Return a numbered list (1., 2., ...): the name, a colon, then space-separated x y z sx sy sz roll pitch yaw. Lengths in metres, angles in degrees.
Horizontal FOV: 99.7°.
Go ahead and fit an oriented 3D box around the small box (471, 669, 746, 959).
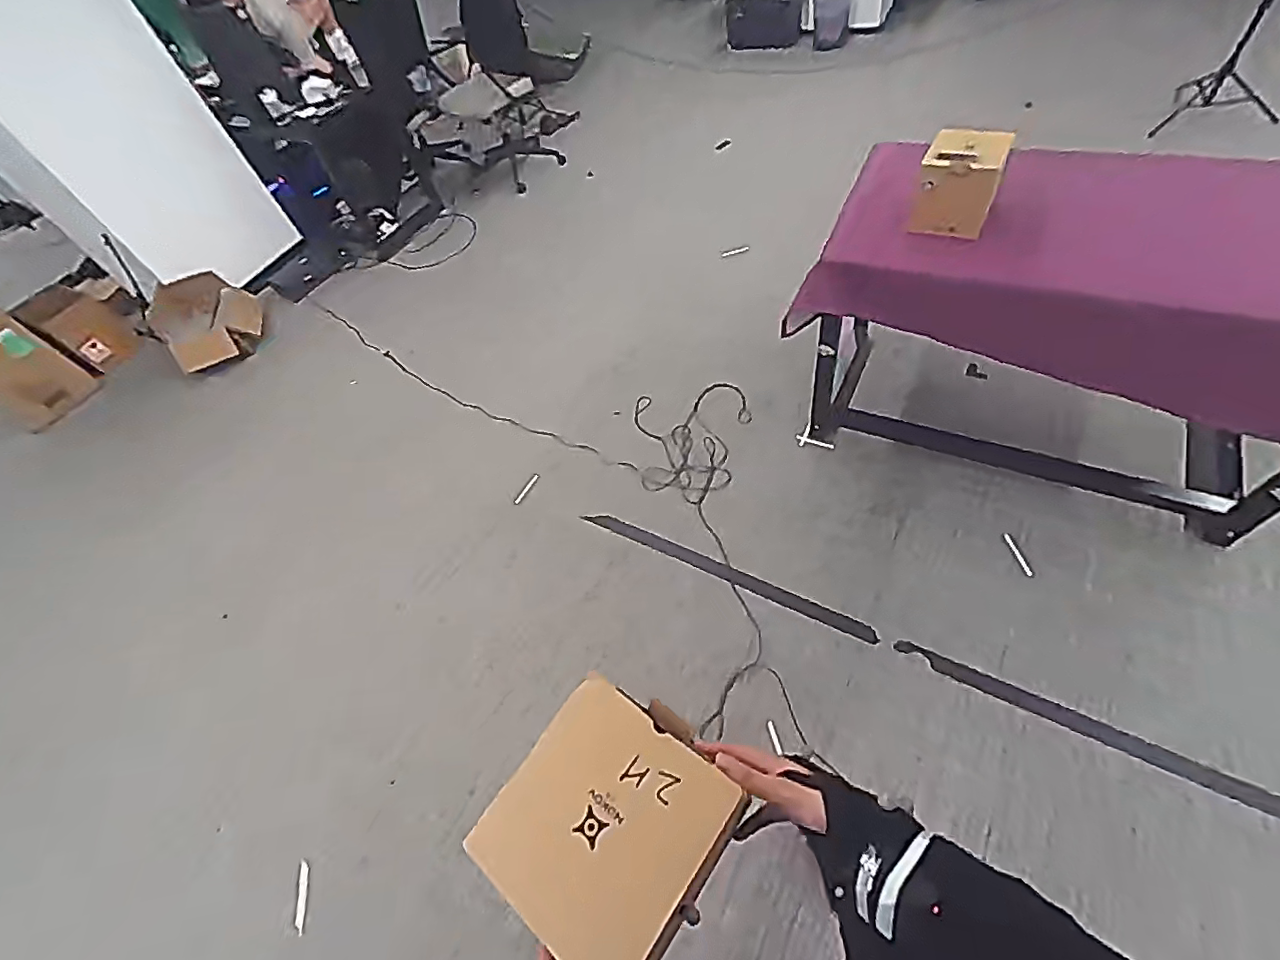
1. small box: -0.012 0.315 0.503 0.168 0.176 0.179 29 68 28
